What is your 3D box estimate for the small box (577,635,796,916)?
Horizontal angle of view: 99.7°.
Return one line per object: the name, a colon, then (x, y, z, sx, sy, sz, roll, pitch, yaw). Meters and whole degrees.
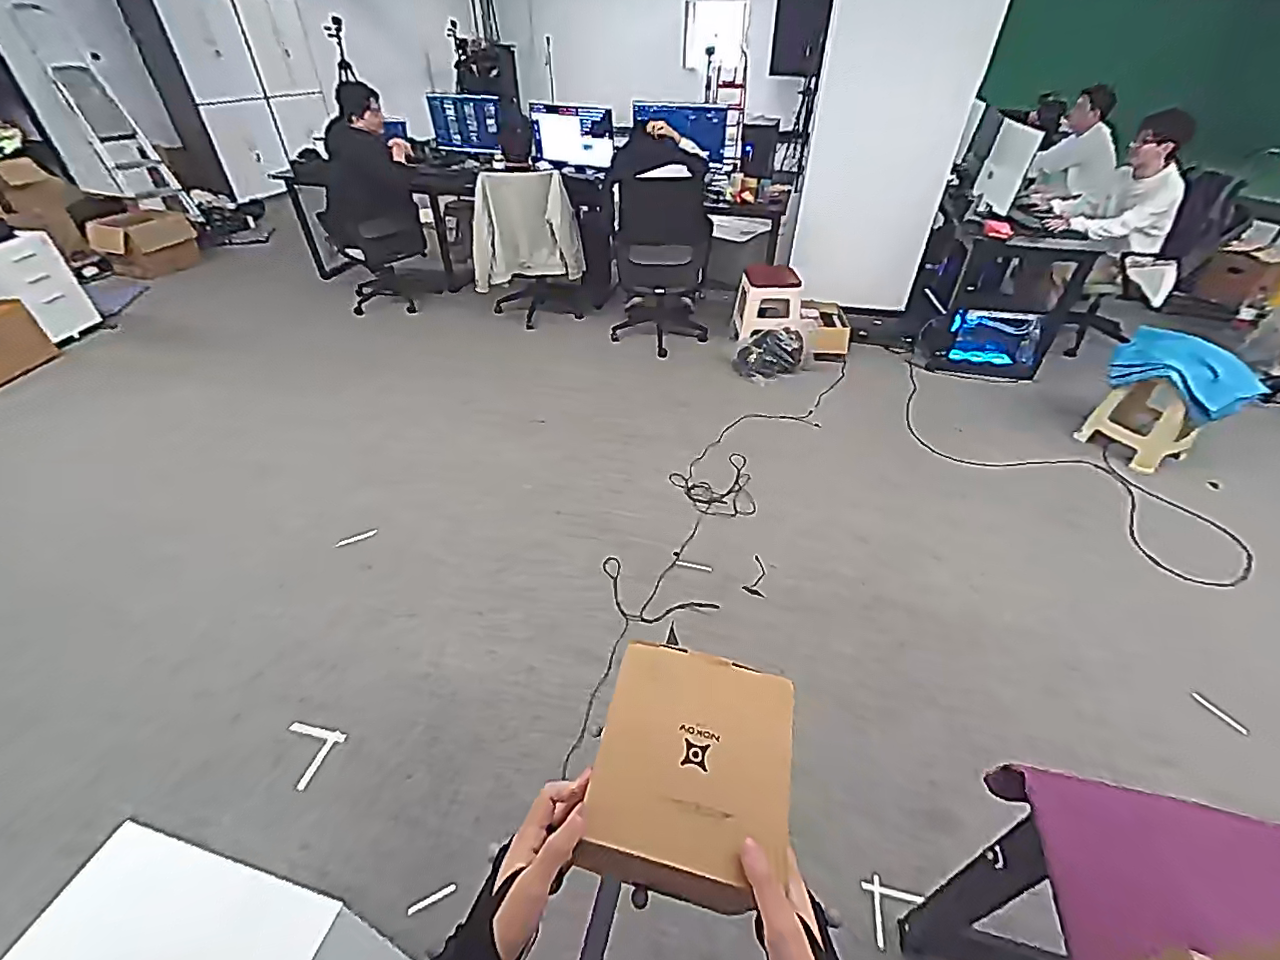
small box: (0.040, 0.284, 0.518, 0.168, 0.176, 0.179, 14, 48, 4)
